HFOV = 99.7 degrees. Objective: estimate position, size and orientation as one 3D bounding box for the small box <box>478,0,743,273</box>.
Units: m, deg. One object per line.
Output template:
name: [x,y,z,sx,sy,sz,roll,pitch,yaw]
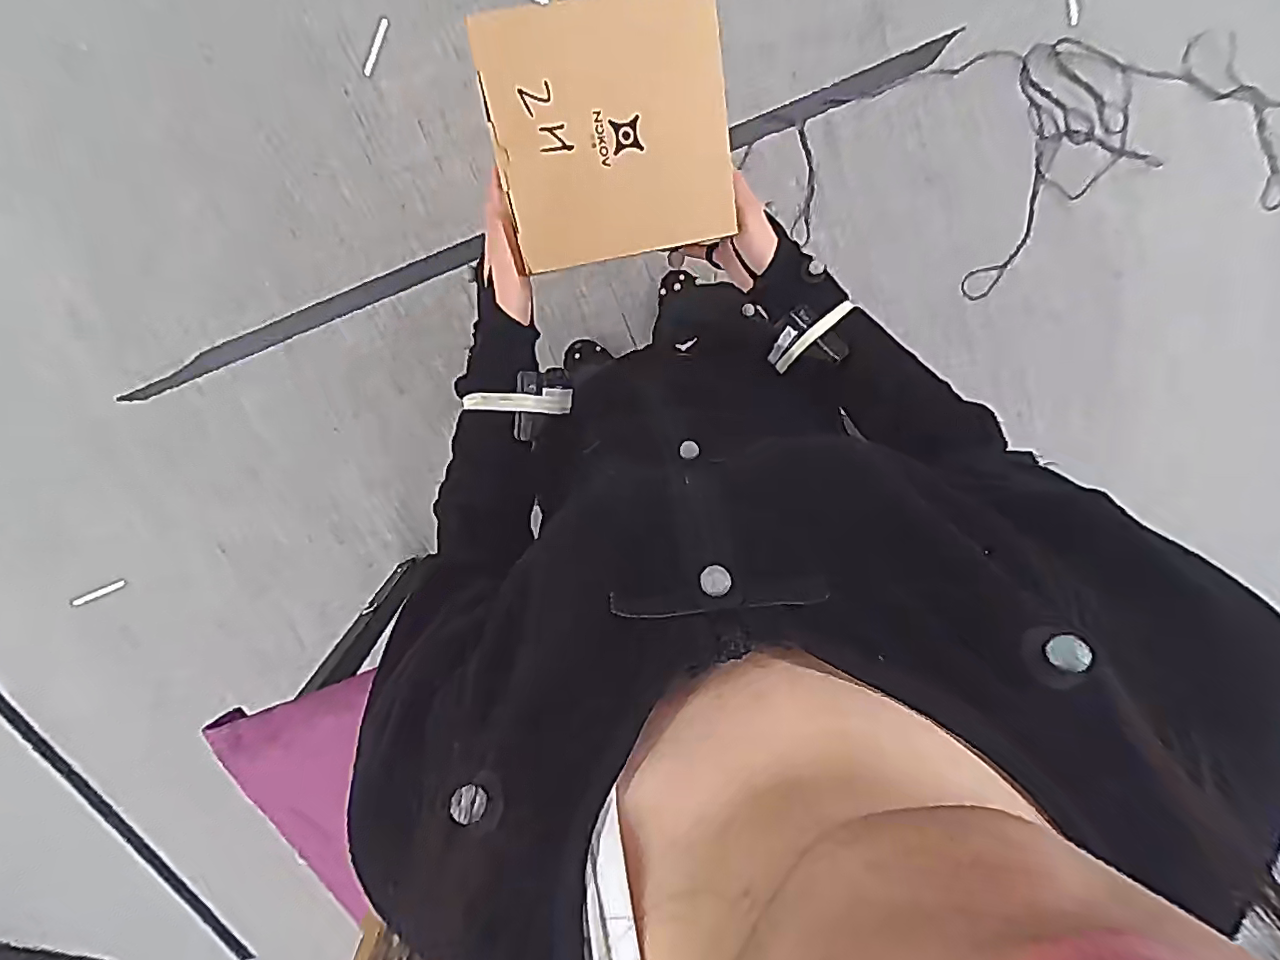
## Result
small box: [-0.027,-0.282,0.469,0.179,0.176,0.168,-13,112,-5]
